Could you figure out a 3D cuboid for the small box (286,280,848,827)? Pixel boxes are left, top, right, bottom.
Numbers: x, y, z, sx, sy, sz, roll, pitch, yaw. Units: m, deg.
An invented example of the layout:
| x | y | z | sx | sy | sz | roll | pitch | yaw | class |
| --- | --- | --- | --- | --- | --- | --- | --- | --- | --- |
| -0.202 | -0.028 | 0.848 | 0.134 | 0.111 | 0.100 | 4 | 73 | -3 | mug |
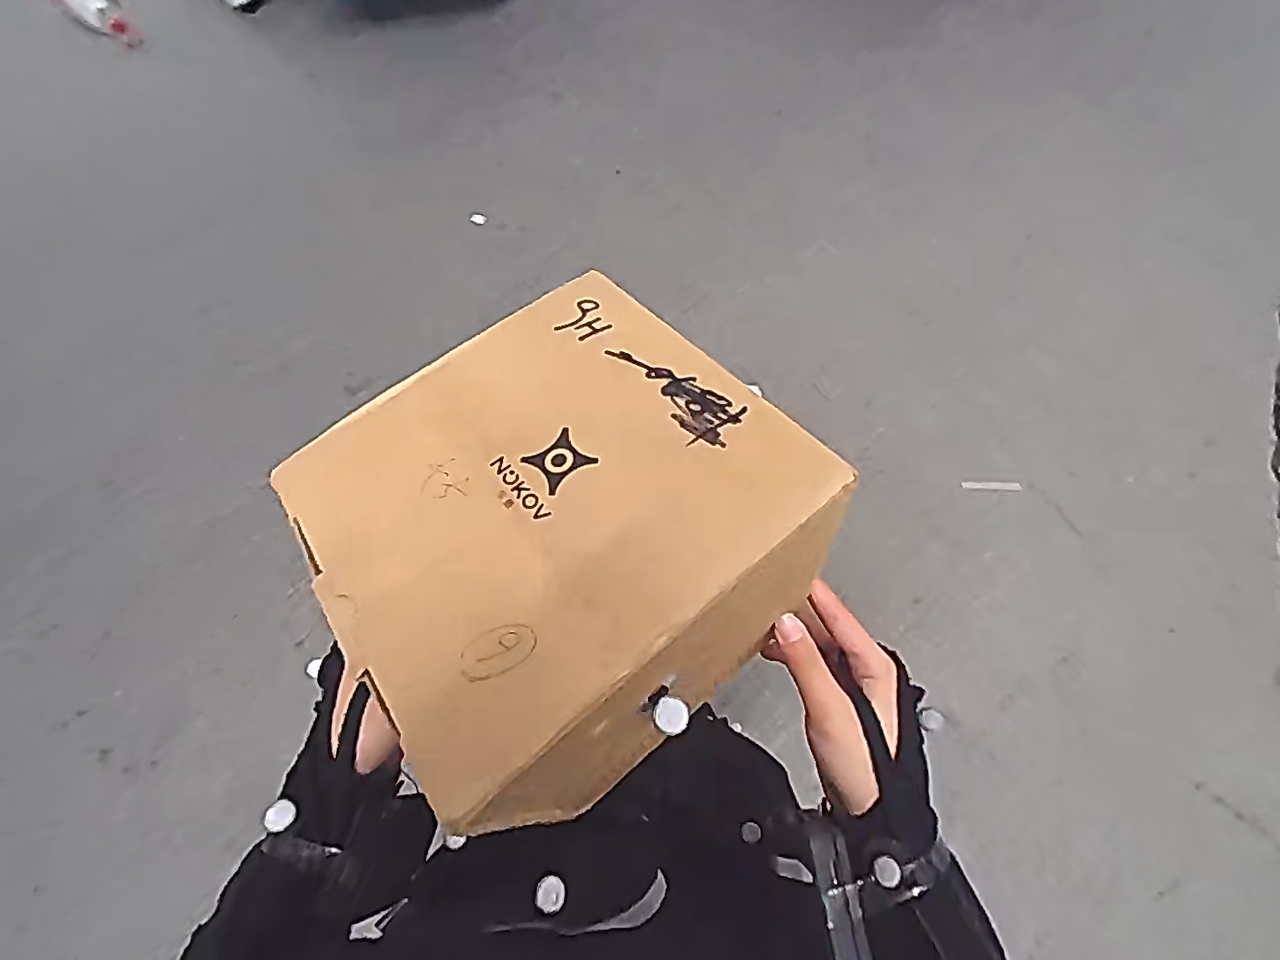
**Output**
| x | y | z | sx | sy | sz | roll | pitch | yaw | class |
| --- | --- | --- | --- | --- | --- | --- | --- | --- | --- |
| -0.026 | 0.042 | 0.280 | 0.179 | 0.176 | 0.168 | -37 | 61 | -12 | small box |
